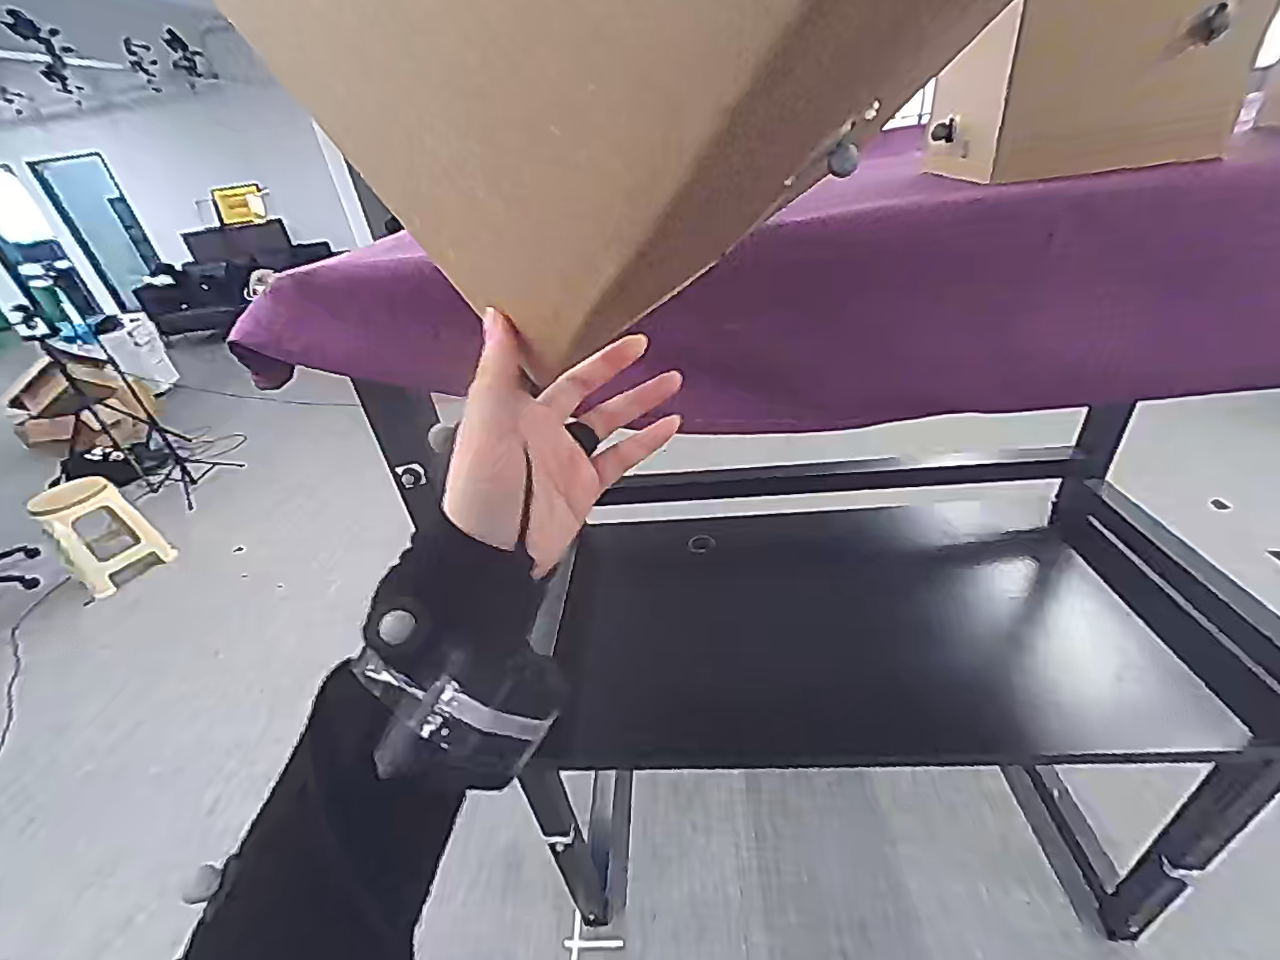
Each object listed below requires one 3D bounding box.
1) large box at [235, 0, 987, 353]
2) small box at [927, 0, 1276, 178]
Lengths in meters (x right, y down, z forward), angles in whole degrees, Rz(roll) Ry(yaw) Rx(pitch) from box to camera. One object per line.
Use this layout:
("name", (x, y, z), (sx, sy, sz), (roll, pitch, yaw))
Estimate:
("large box", (-0.017, -0.327, 0.169), (0.320, 0.408, 0.320), (-43, 5, -27))
("small box", (0.372, -0.367, 0.457), (0.179, 0.176, 0.168), (-4, 32, 8))
